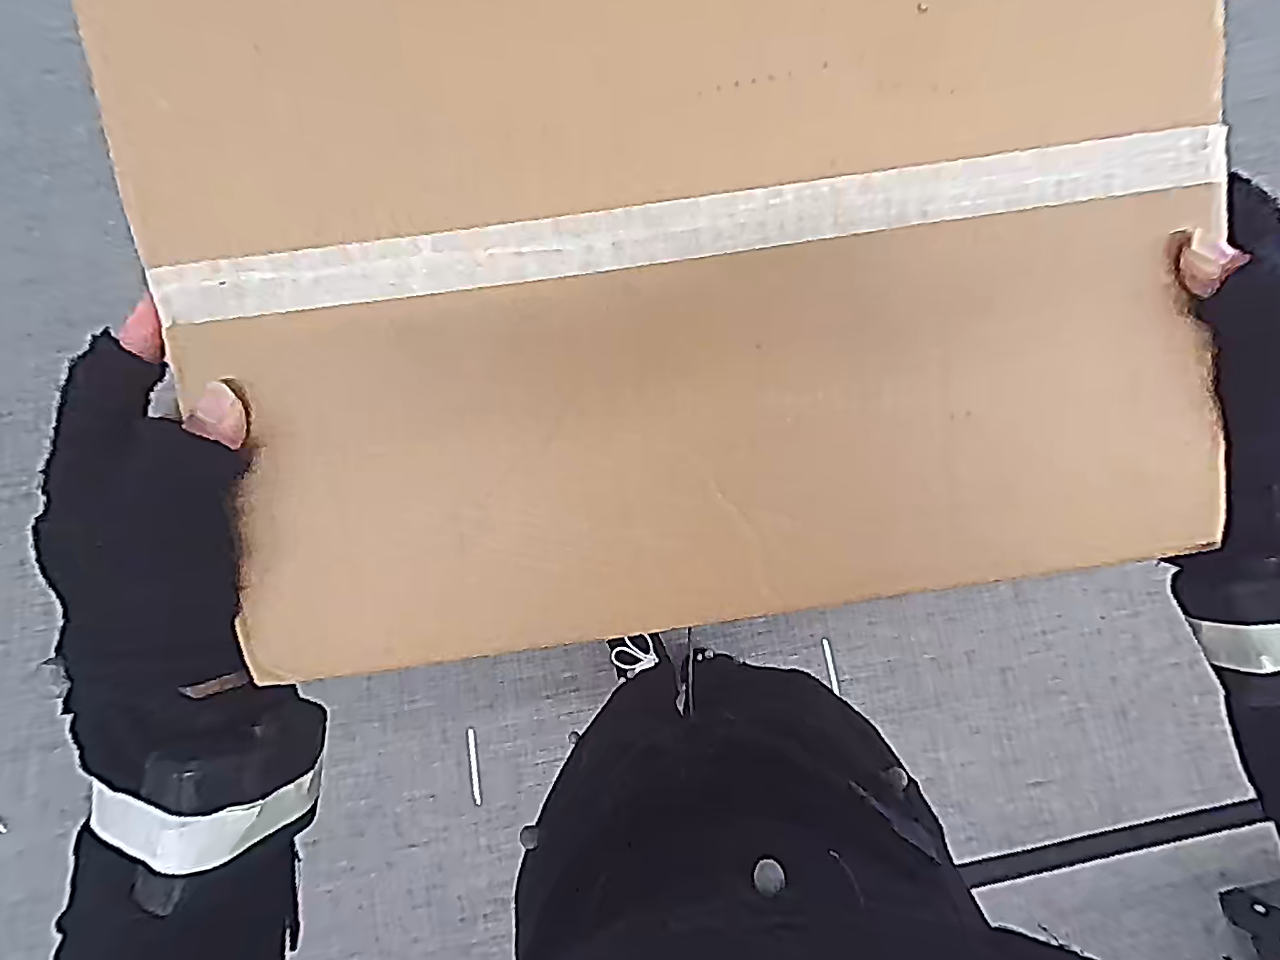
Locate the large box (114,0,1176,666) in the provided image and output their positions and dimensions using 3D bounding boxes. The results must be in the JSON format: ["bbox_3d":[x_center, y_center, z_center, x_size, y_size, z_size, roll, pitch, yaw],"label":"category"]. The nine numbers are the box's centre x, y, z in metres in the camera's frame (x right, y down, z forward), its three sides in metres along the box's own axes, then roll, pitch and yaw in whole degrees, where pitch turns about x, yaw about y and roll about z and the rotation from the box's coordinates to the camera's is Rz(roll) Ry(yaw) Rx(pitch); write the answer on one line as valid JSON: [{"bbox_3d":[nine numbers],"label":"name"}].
[{"bbox_3d":[0.015,-0.118,0.365,0.408,0.320,0.320,-8,98,-1],"label":"large box"}]
